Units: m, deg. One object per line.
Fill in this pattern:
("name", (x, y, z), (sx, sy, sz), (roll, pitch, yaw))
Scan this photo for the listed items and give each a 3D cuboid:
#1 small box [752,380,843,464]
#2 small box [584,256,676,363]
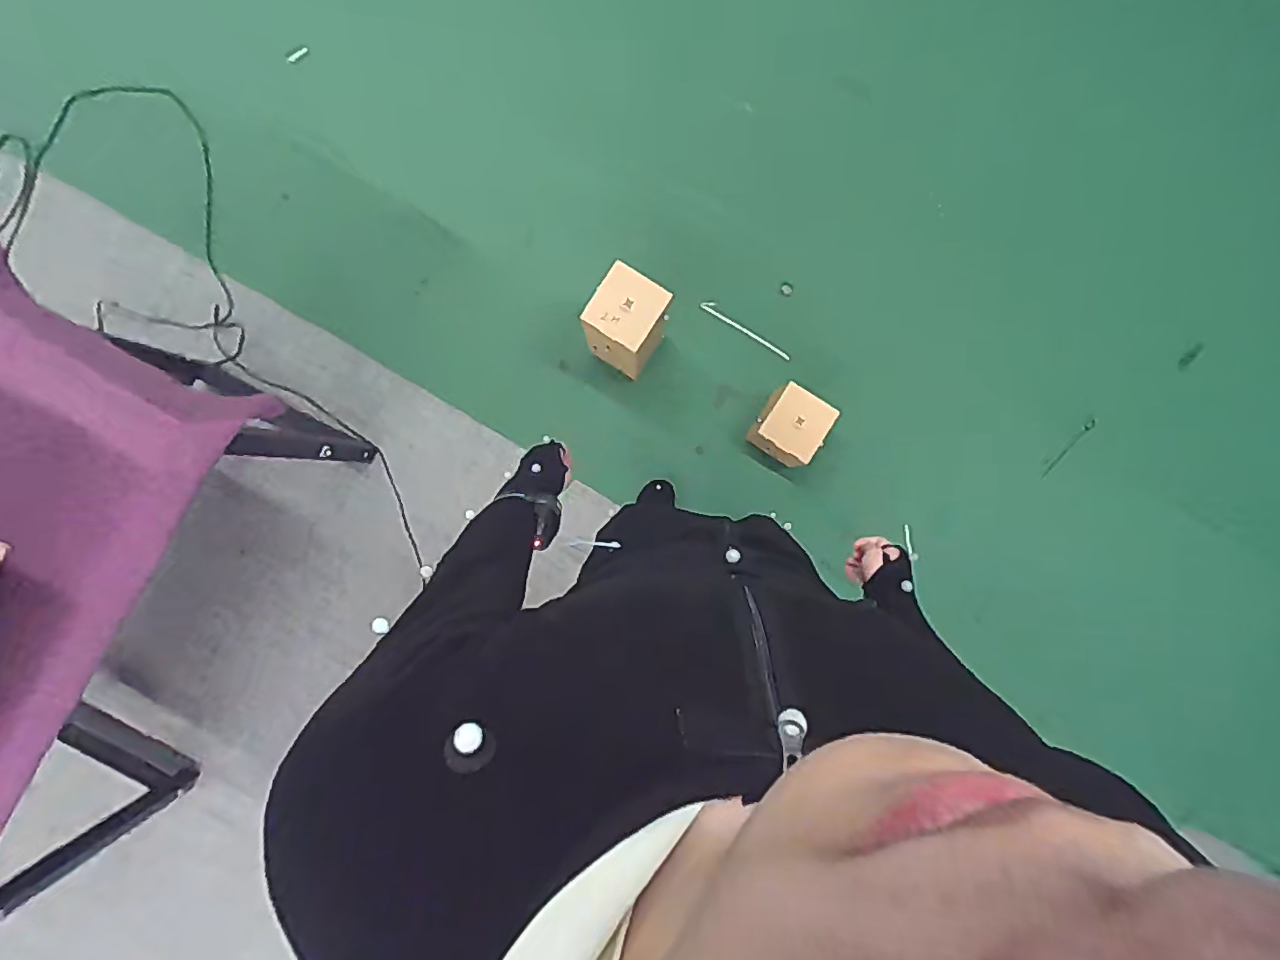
("small box", (0.443, -0.161, 1.559), (0.168, 0.176, 0.179), (32, 90, -1))
("small box", (-0.026, -0.429, 1.392), (0.168, 0.176, 0.179), (34, 89, 1))
